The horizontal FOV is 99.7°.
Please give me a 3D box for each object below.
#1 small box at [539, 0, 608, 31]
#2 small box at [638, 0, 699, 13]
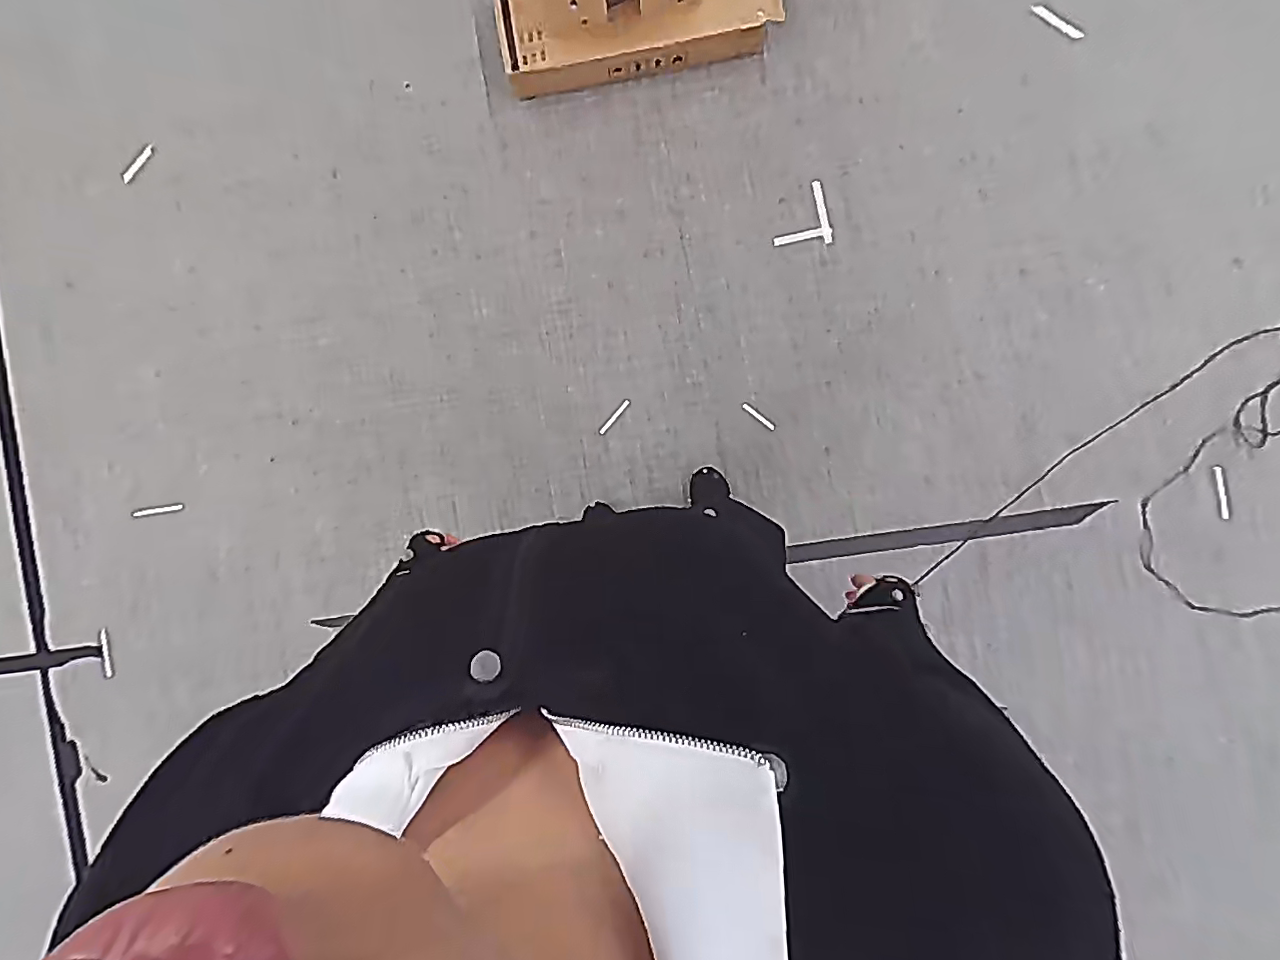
[{"bbox_3d":[-0.180,-1.256,1.329,0.168,0.176,0.179,-12,89,3],"label":"small box"},{"bbox_3d":[0.063,-1.306,1.317,0.168,0.176,0.179,-10,89,3],"label":"small box"}]
